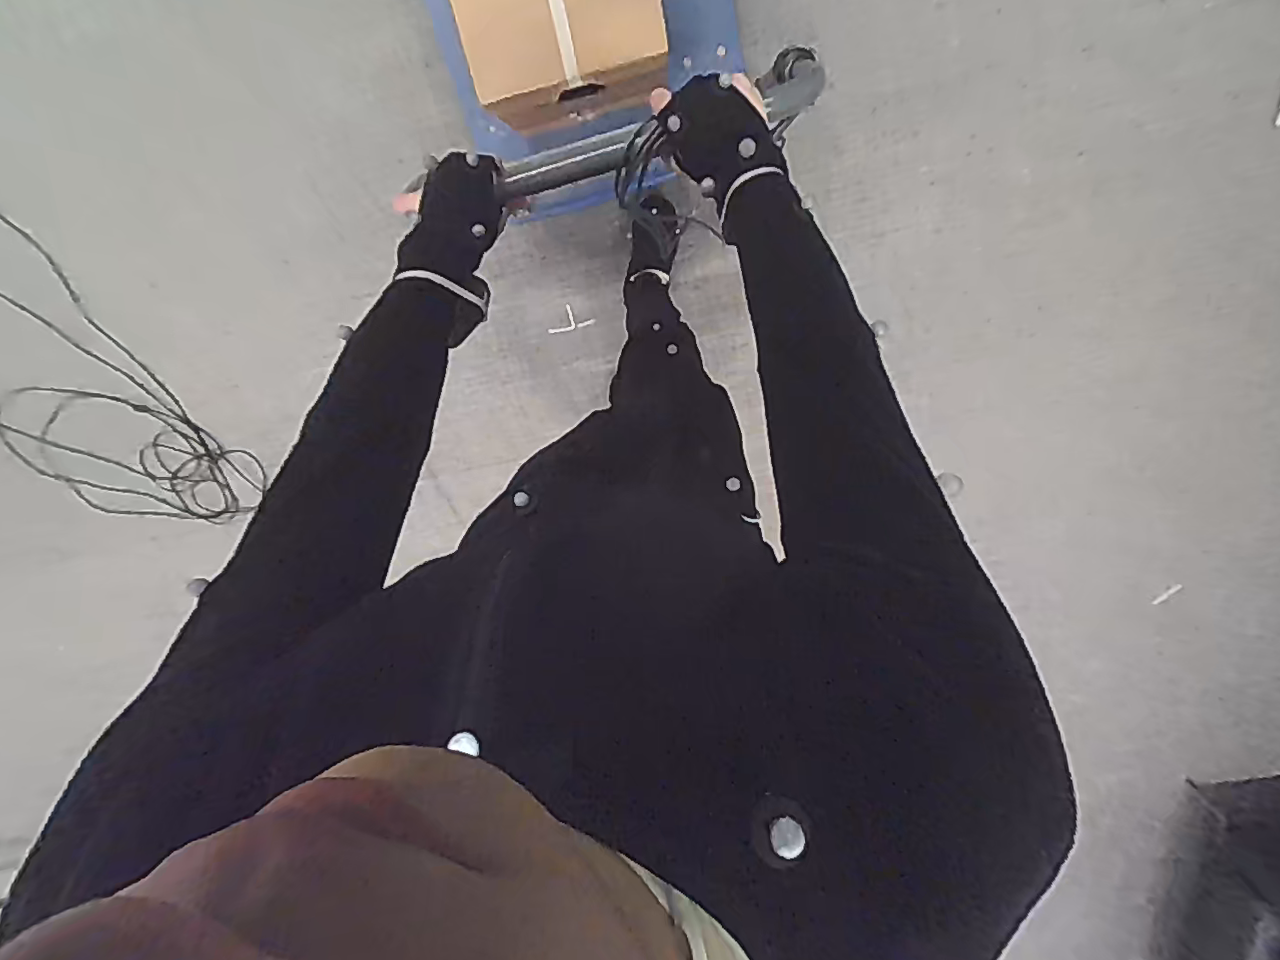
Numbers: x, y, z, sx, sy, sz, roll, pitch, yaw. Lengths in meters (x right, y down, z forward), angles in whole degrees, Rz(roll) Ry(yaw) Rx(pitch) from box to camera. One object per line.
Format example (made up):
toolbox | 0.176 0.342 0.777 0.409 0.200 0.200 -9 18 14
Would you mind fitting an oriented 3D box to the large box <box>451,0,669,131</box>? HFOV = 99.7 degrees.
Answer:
large box | -0.141 -0.869 0.896 0.320 0.320 0.408 -11 114 6
